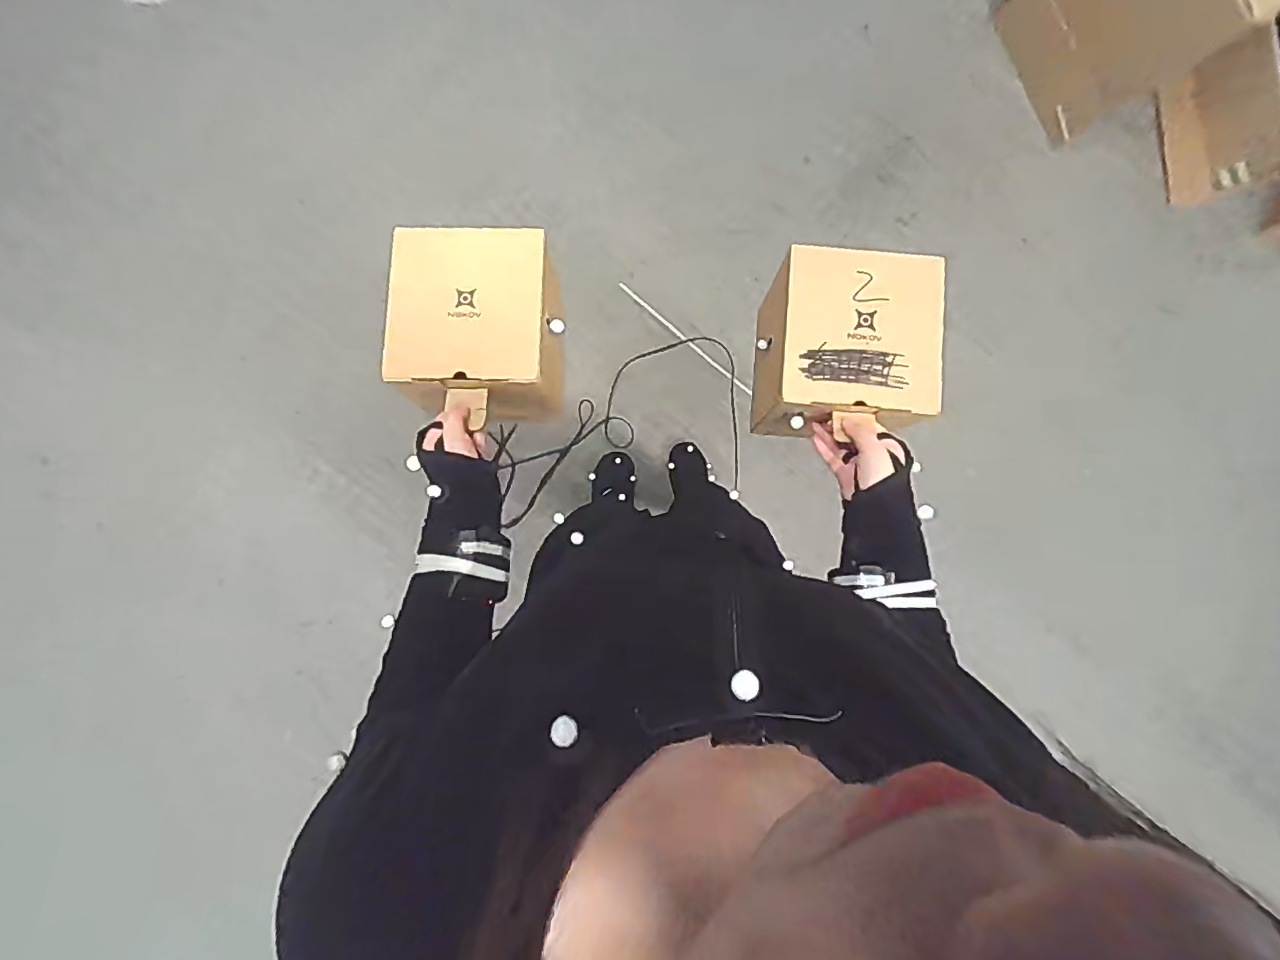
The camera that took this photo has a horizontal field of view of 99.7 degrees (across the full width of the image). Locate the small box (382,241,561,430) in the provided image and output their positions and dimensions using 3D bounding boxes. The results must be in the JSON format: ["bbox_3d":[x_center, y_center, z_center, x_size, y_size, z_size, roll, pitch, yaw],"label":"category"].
[{"bbox_3d":[-0.192,-0.167,0.665,0.168,0.176,0.179,0,81,0],"label":"small box"}]
